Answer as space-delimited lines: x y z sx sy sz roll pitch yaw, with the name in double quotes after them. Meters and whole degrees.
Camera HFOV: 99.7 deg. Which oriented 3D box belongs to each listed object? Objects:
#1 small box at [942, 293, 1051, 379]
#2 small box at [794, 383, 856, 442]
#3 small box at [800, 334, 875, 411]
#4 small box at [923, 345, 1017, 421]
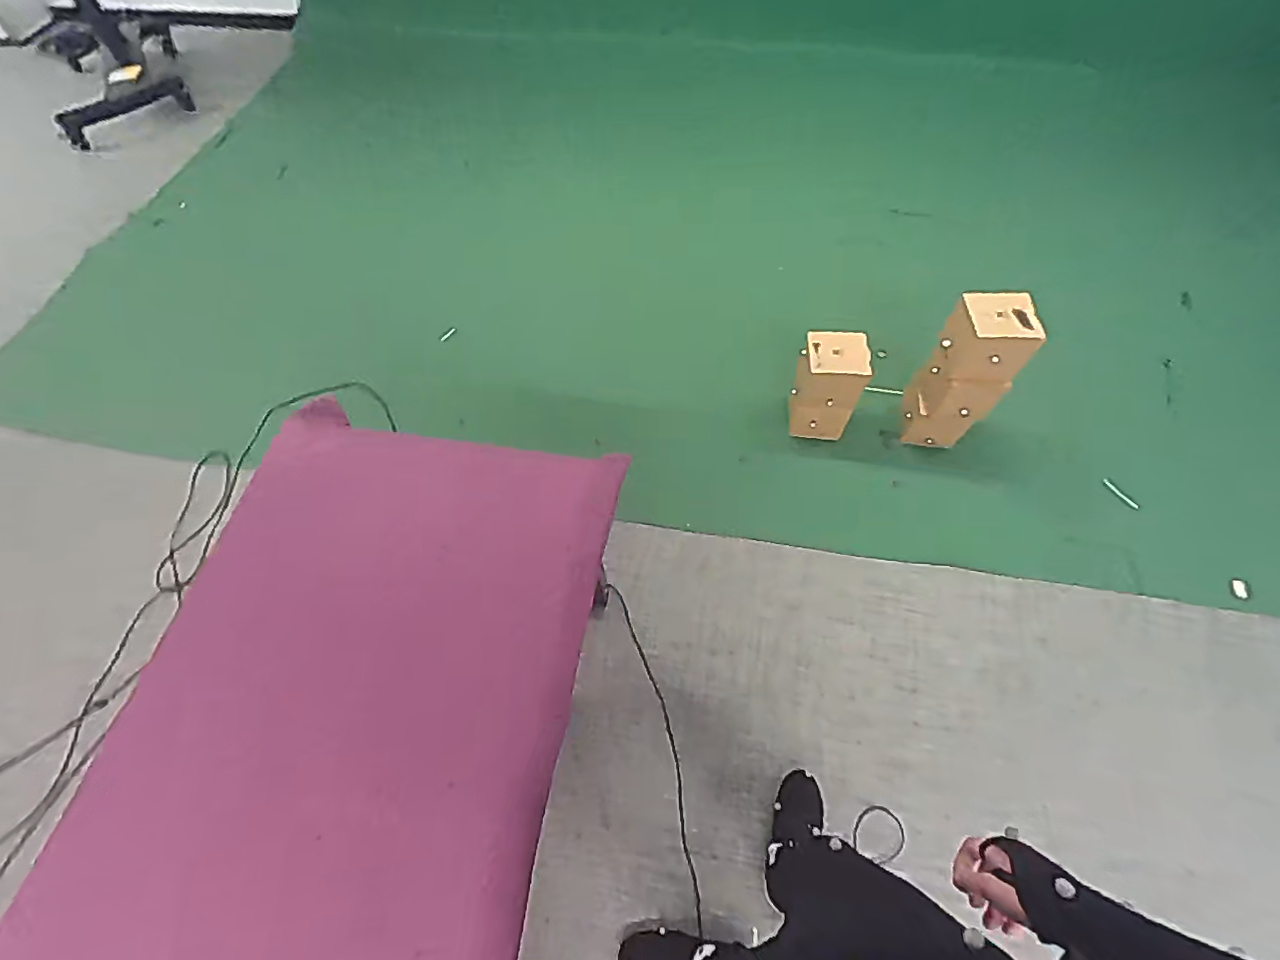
0.972 -0.392 1.491 0.179 0.176 0.168 1 61 4 "small box"
0.613 -0.245 1.806 0.168 0.176 0.179 6 60 7 "small box"
0.601 -0.327 1.665 0.179 0.176 0.168 4 60 5 "small box"
0.979 -0.296 1.626 0.168 0.176 0.179 -1 61 3 "small box"
